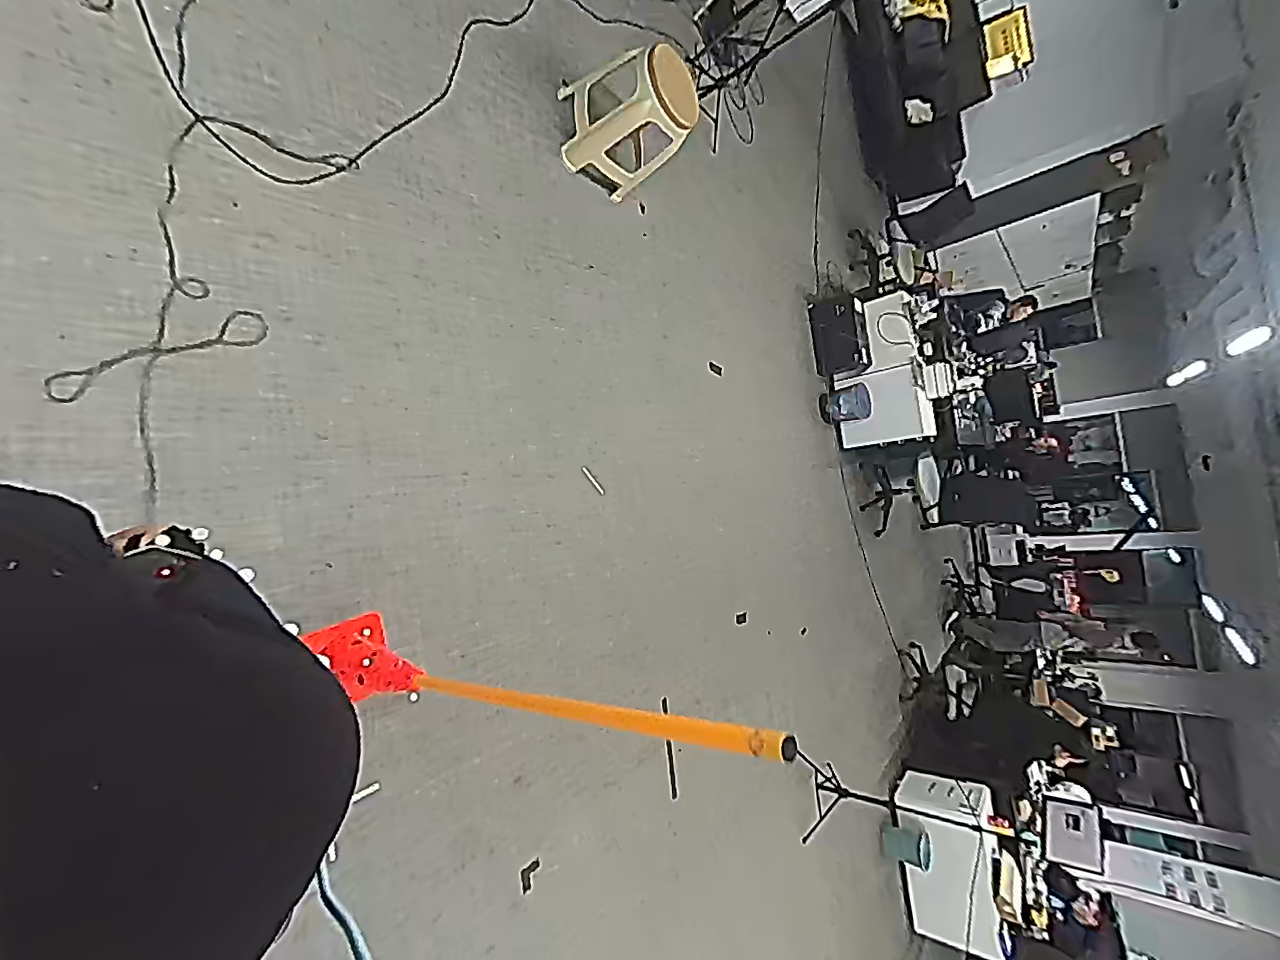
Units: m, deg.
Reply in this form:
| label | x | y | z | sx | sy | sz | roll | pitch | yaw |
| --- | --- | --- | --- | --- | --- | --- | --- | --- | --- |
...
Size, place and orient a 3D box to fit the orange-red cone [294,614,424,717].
| label | x | y | z | sx | sy | sz | roll | pitch | yaw |
| --- | --- | --- | --- | --- | --- | --- | --- | --- | --- |
| orange-red cone | -0.579 | 0.419 | 1.185 | 0.199 | 0.360 | 0.198 | -13 | 93 | -49 |
